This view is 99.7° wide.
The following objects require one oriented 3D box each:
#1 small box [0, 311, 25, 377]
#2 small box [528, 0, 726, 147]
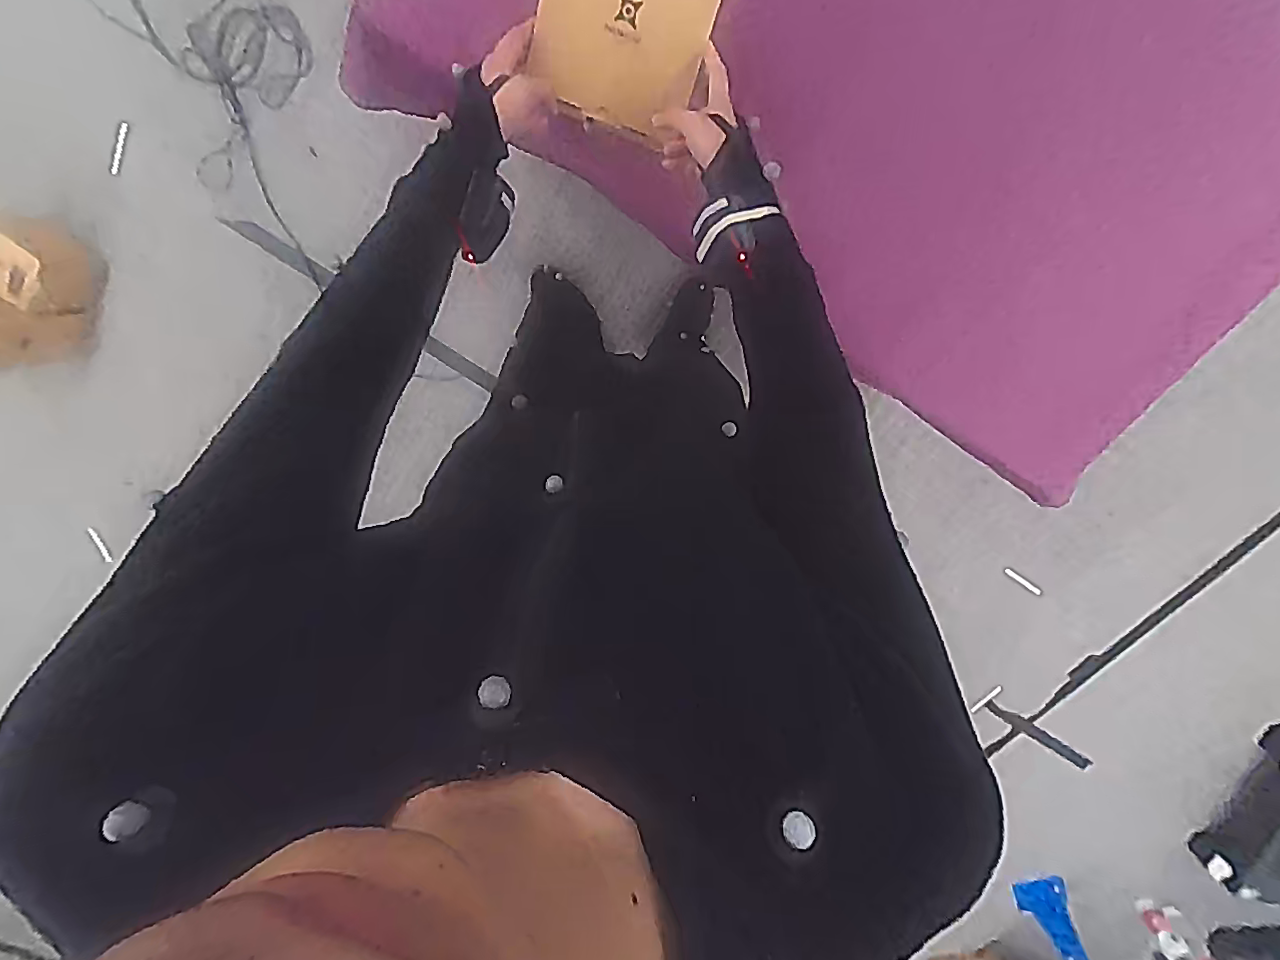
[{"bbox_3d":[-1.744,-0.366,1.374,0.168,0.176,0.179,37,111,-11],"label":"small box"},{"bbox_3d":[-0.015,-0.487,0.585,0.168,0.176,0.179,15,120,-13],"label":"small box"}]
